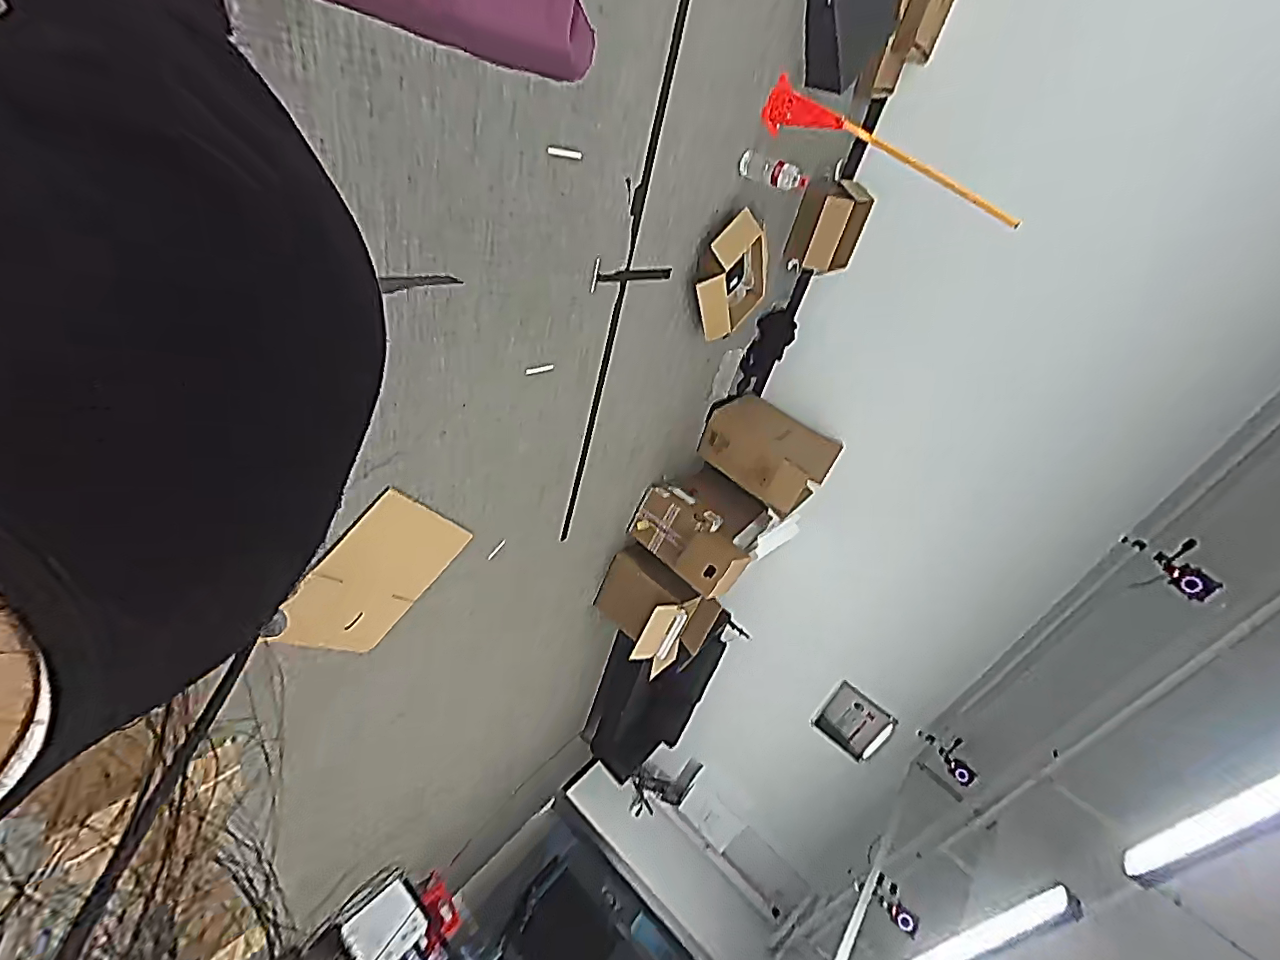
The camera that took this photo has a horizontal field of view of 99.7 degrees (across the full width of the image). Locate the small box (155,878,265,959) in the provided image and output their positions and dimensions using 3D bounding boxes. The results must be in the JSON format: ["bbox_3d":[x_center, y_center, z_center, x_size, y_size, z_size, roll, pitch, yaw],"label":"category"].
[{"bbox_3d":[-1.118,1.192,1.410,0.168,0.176,0.179,-28,145,-45],"label":"small box"}]

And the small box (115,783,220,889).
[{"bbox_3d":[-1.354,1.012,1.552,0.168,0.176,0.179,-28,146,-43],"label":"small box"}]
